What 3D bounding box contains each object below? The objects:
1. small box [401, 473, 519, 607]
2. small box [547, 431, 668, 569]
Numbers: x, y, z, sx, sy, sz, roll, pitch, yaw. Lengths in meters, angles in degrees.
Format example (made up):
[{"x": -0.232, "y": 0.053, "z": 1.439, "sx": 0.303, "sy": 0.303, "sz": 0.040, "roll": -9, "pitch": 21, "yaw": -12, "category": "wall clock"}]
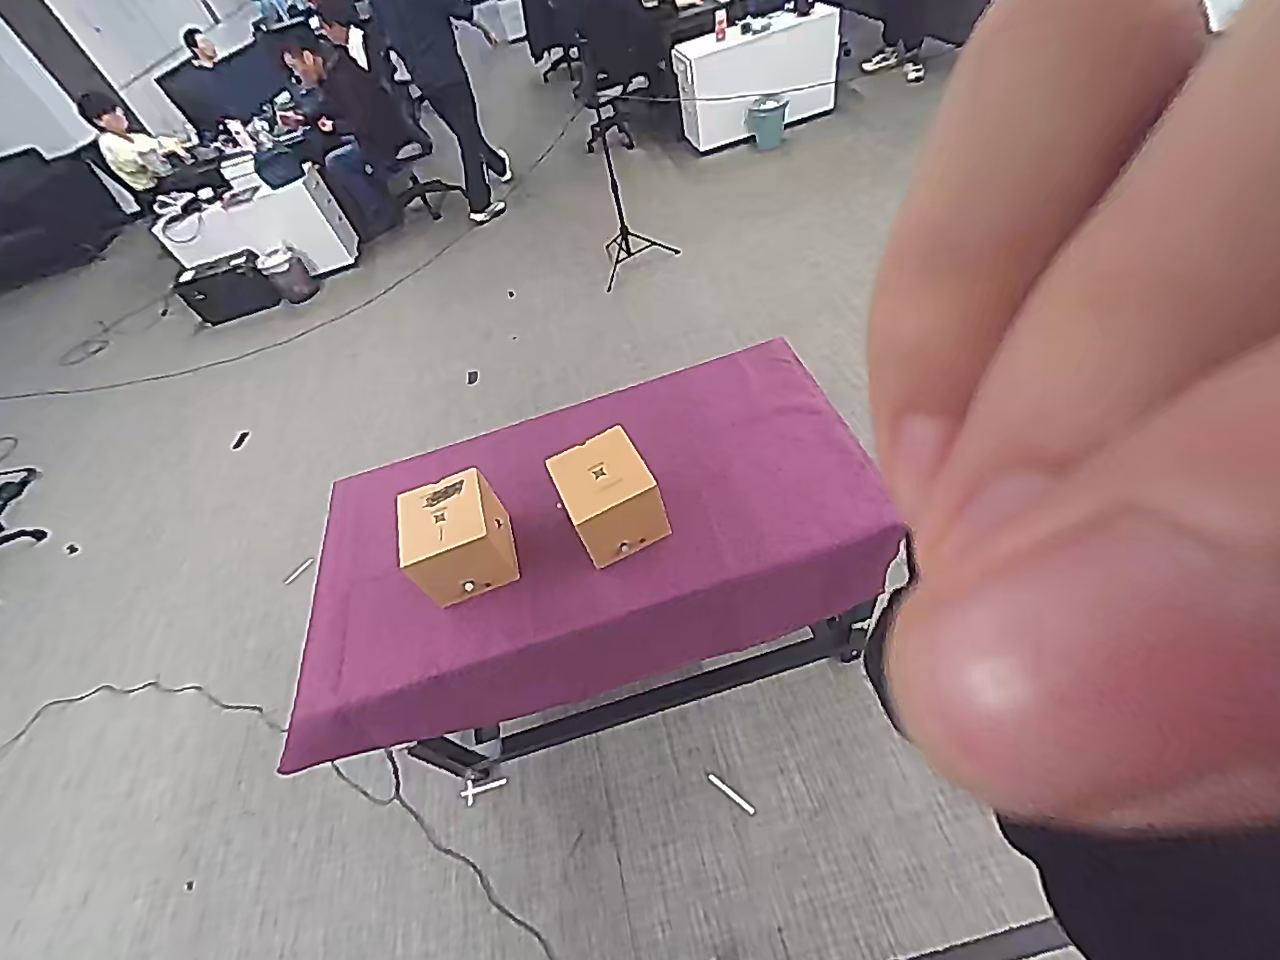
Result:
[{"x": -0.356, "y": 0.122, "z": 1.077, "sx": 0.168, "sy": 0.176, "sz": 0.179, "roll": -21, "pitch": 50, "yaw": -2, "category": "small box"}, {"x": -0.061, "y": 0.041, "z": 1.066, "sx": 0.168, "sy": 0.176, "sz": 0.179, "roll": -27, "pitch": 50, "yaw": -6, "category": "small box"}]
